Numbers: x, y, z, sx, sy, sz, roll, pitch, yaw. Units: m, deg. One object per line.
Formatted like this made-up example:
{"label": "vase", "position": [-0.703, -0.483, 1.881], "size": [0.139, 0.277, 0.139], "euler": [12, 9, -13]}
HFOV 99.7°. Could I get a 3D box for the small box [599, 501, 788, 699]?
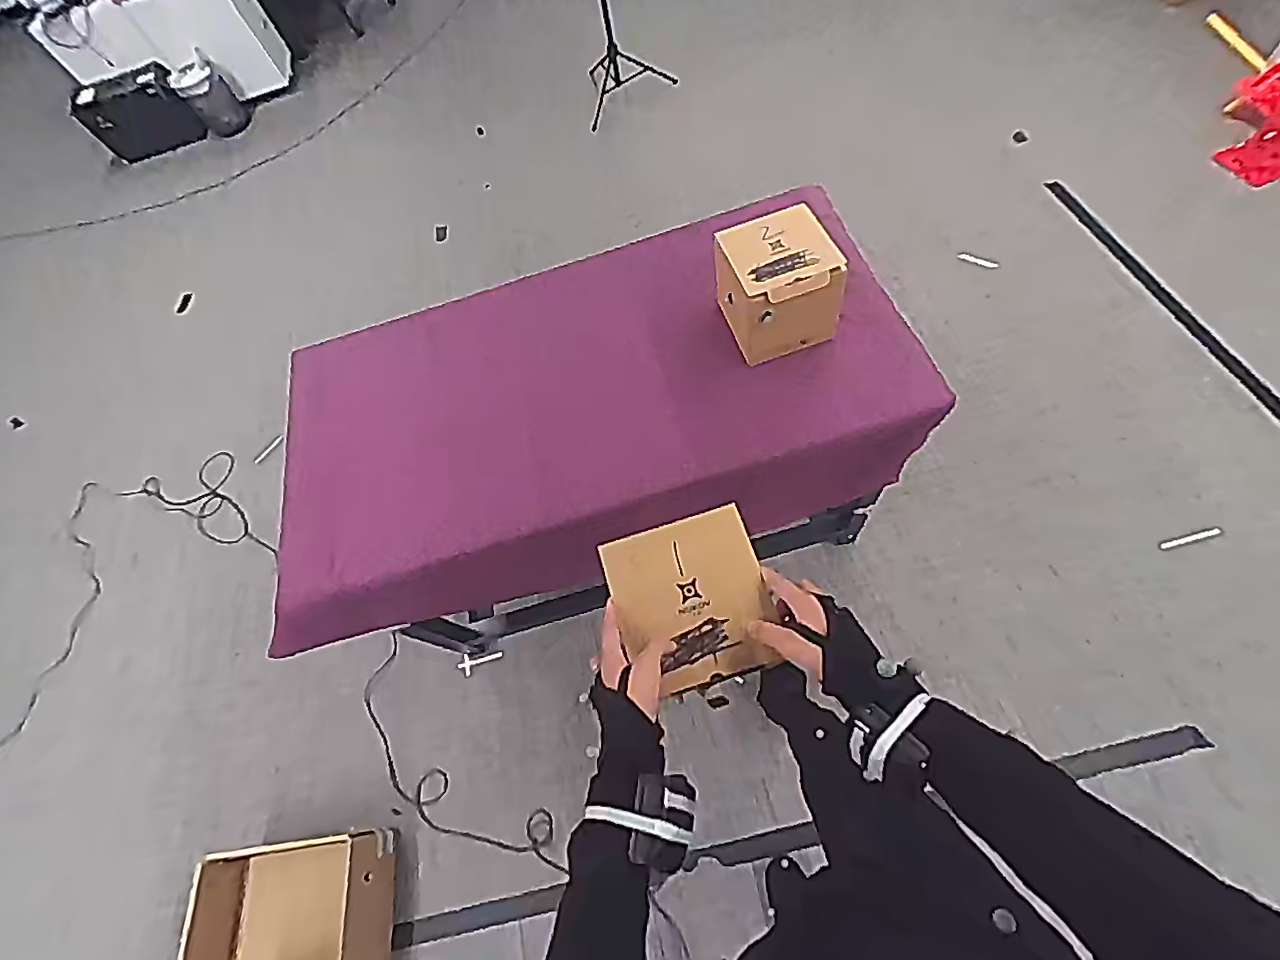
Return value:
{"label": "small box", "position": [0.062, 0.150, 0.656], "size": [0.168, 0.176, 0.179], "euler": [-18, 69, -1]}
